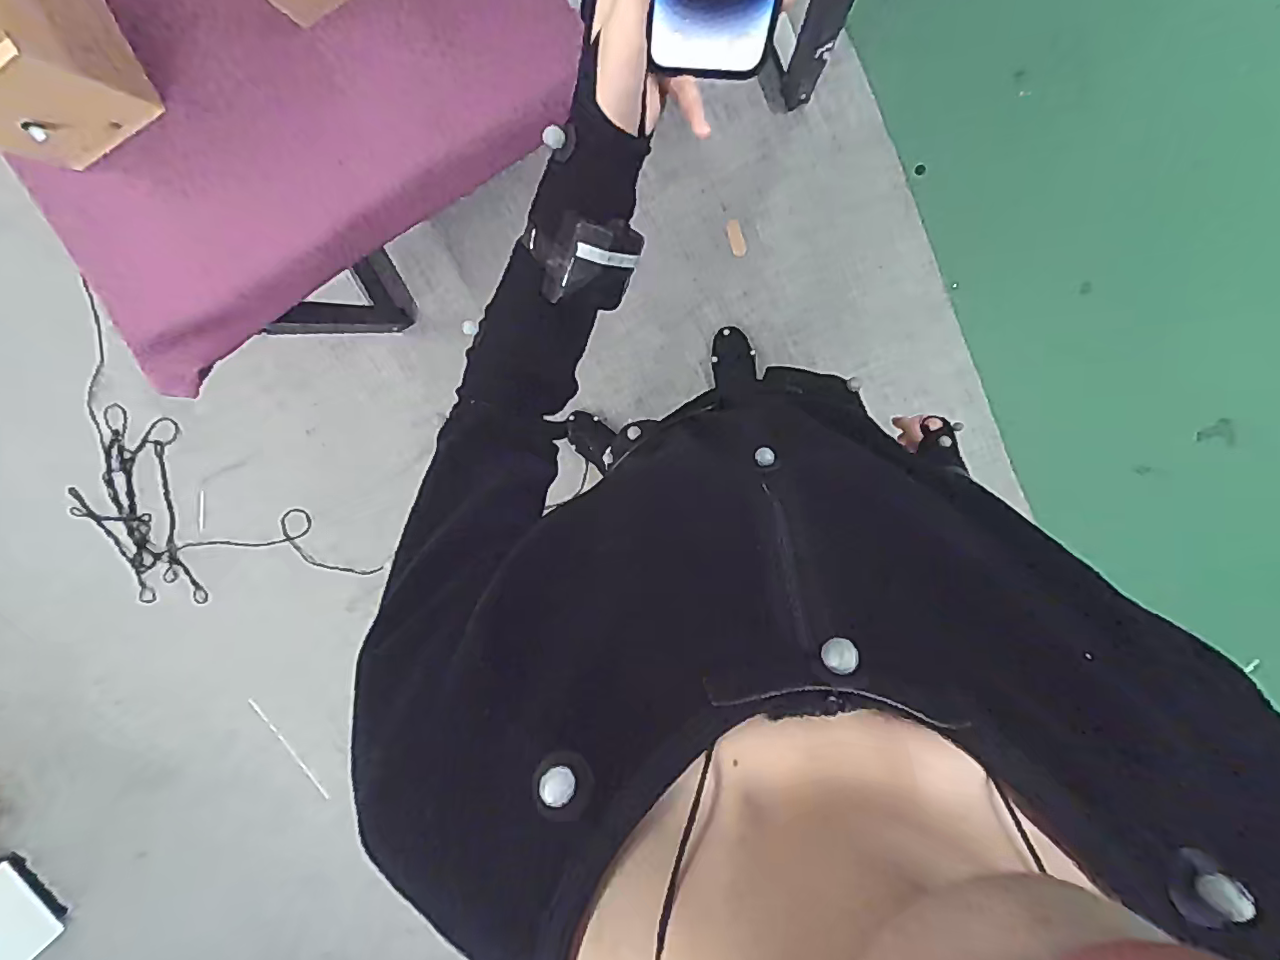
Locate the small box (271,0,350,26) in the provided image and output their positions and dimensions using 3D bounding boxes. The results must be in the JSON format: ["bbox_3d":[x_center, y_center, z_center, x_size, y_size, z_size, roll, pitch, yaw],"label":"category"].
[{"bbox_3d":[-0.371,-0.634,0.553,0.179,0.176,0.168,-23,101,13],"label":"small box"}]

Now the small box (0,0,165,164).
[{"bbox_3d":[-0.731,-0.503,0.635,0.168,0.176,0.179,-22,101,12],"label":"small box"}]
